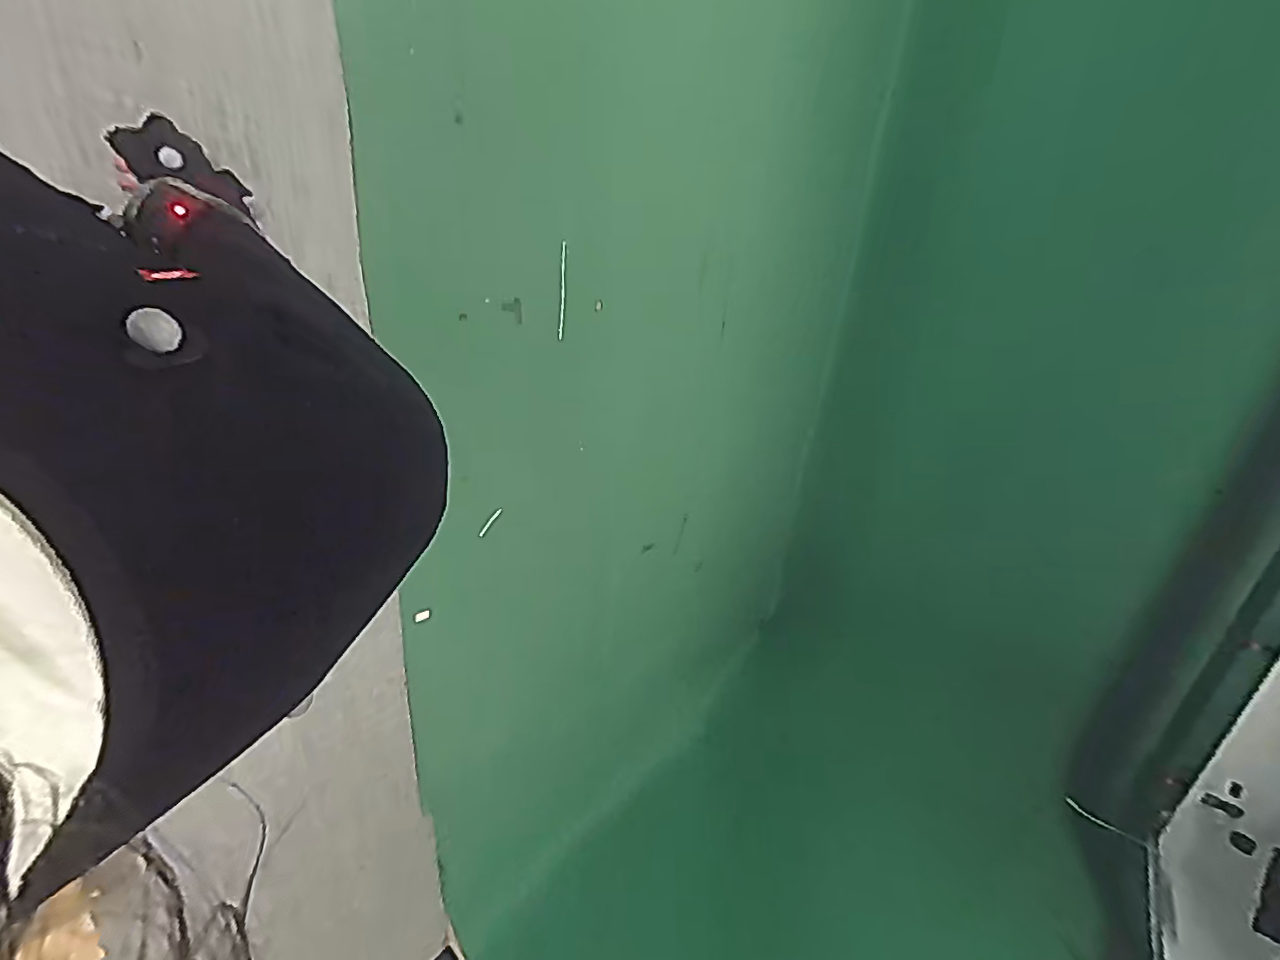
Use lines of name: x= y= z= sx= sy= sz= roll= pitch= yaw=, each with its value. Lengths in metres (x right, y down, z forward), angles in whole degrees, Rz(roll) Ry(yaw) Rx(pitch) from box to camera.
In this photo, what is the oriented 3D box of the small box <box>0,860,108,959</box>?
small box: x=-1.296 y=0.988 z=1.170 sx=0.179 sy=0.176 sz=0.168 roll=-14 pitch=120 yaw=-49
